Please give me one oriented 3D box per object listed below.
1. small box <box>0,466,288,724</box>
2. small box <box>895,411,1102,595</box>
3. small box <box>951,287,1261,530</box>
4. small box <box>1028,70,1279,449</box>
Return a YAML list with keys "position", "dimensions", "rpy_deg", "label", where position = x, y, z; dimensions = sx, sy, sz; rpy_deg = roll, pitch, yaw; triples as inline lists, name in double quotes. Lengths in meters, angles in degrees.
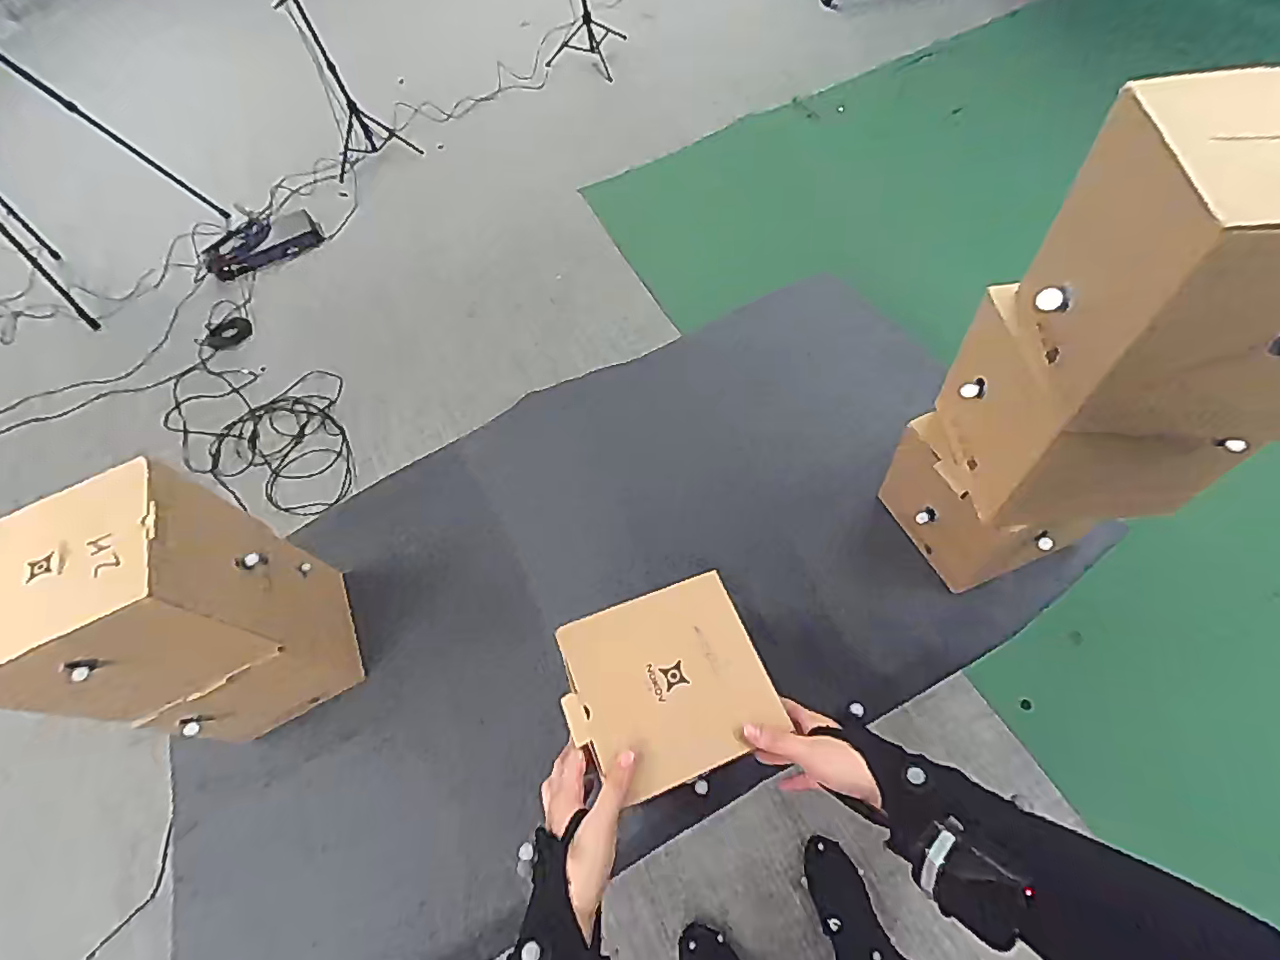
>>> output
- position: [-0.500, 0.123, 0.542]
  dimensions: [0.179, 0.176, 0.168]
  rpy_deg: [-27, 60, -8]
  label: "small box"
- position: [0.432, 0.013, 0.647]
  dimensions: [0.179, 0.176, 0.168]
  rpy_deg: [-23, 56, -3]
  label: "small box"
- position: [0.416, -0.063, 0.503]
  dimensions: [0.179, 0.176, 0.168]
  rpy_deg: [-4, 57, 7]
  label: "small box"
- position: [0.399, -0.134, 0.353]
  dimensions: [0.179, 0.176, 0.168]
  rpy_deg: [4, 58, 13]
  label: "small box"
